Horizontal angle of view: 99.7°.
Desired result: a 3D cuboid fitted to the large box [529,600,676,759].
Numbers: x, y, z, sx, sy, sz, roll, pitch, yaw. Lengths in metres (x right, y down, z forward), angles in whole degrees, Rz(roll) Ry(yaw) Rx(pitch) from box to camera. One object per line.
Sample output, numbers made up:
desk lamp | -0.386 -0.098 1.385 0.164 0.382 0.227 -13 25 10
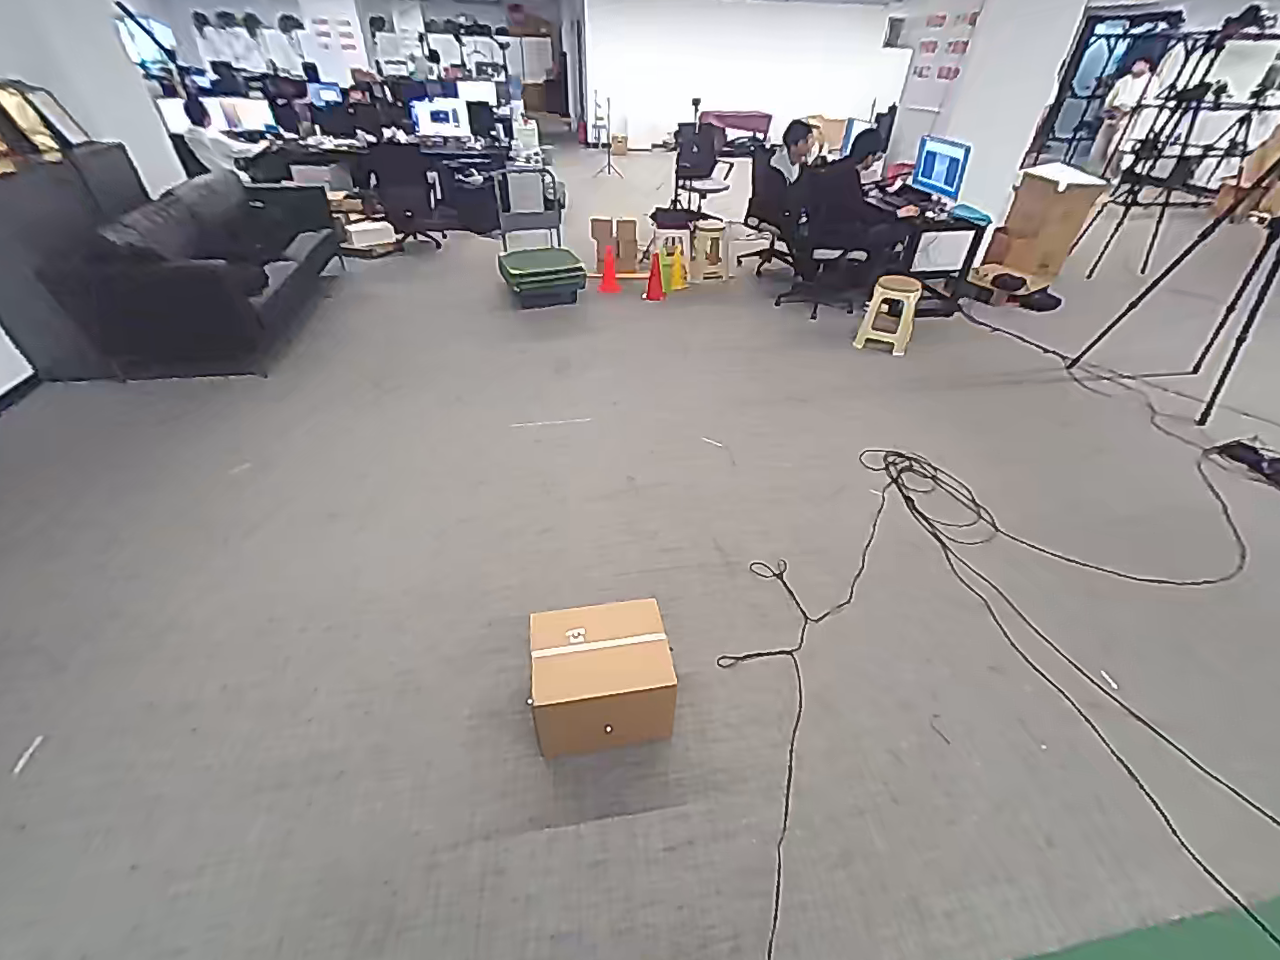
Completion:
large box | -0.120 0.622 1.694 0.408 0.320 0.320 -7 38 -9
